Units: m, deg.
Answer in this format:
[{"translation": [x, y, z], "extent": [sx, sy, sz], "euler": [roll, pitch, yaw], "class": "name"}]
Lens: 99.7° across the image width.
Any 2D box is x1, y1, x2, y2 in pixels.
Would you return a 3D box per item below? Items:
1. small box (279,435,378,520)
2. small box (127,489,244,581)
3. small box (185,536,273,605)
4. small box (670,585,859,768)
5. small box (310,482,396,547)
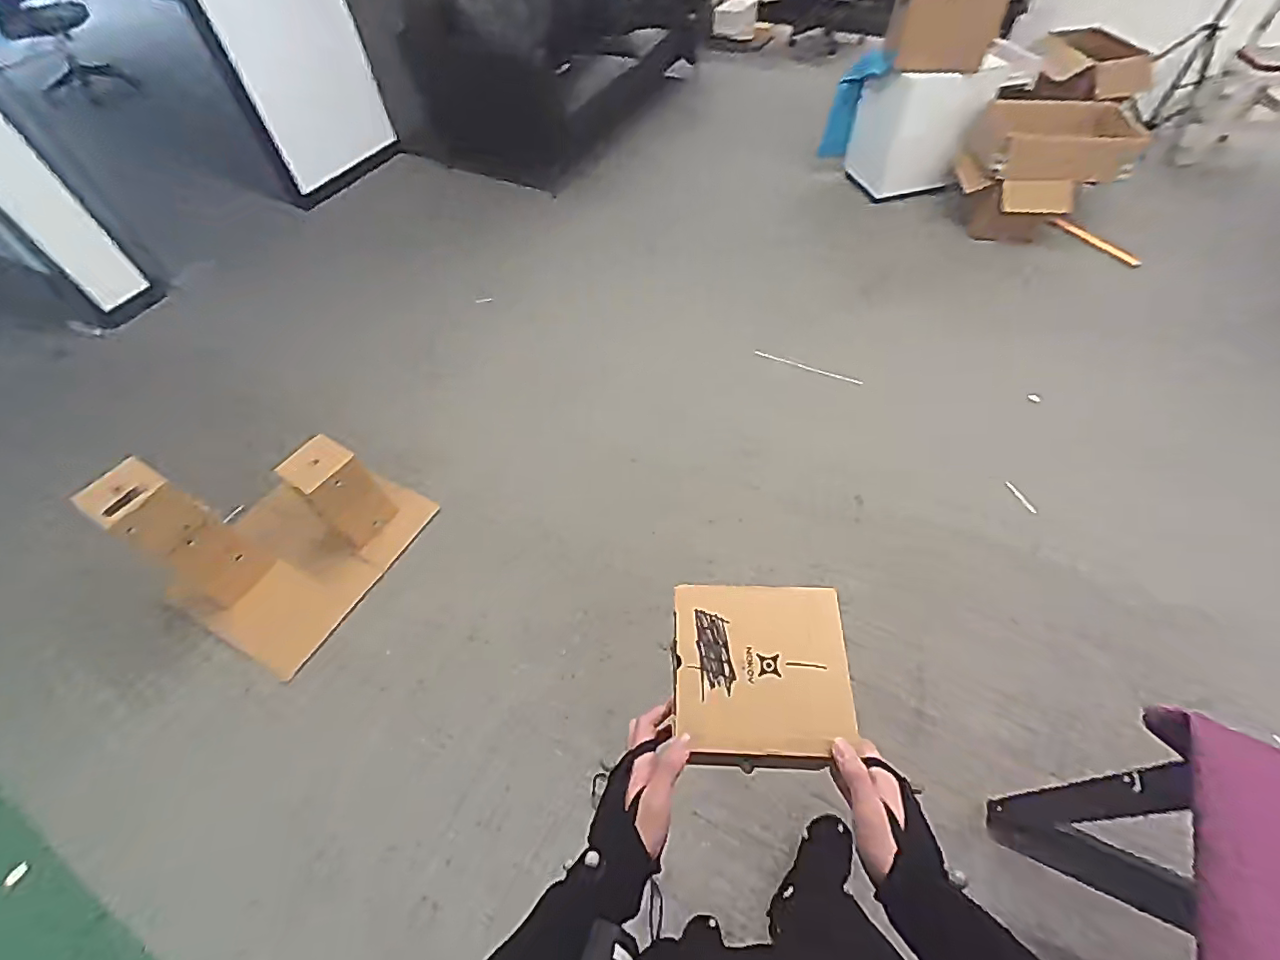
[{"translation": [-0.968, -0.003, 1.698], "extent": [0.168, 0.176, 0.179], "euler": [28, 60, 20], "class": "small box"}, {"translation": [-1.320, 0.166, 1.592], "extent": [0.168, 0.176, 0.179], "euler": [24, 60, 18], "class": "small box"}, {"translation": [-1.318, 0.264, 1.720], "extent": [0.168, 0.176, 0.179], "euler": [23, 59, 19], "class": "small box"}, {"translation": [0.123, 0.227, 0.611], "extent": [0.179, 0.176, 0.168], "euler": [0, 59, 3], "class": "small box"}, {"translation": [-0.958, 0.092, 1.831], "extent": [0.168, 0.176, 0.179], "euler": [25, 59, 19], "class": "small box"}]
